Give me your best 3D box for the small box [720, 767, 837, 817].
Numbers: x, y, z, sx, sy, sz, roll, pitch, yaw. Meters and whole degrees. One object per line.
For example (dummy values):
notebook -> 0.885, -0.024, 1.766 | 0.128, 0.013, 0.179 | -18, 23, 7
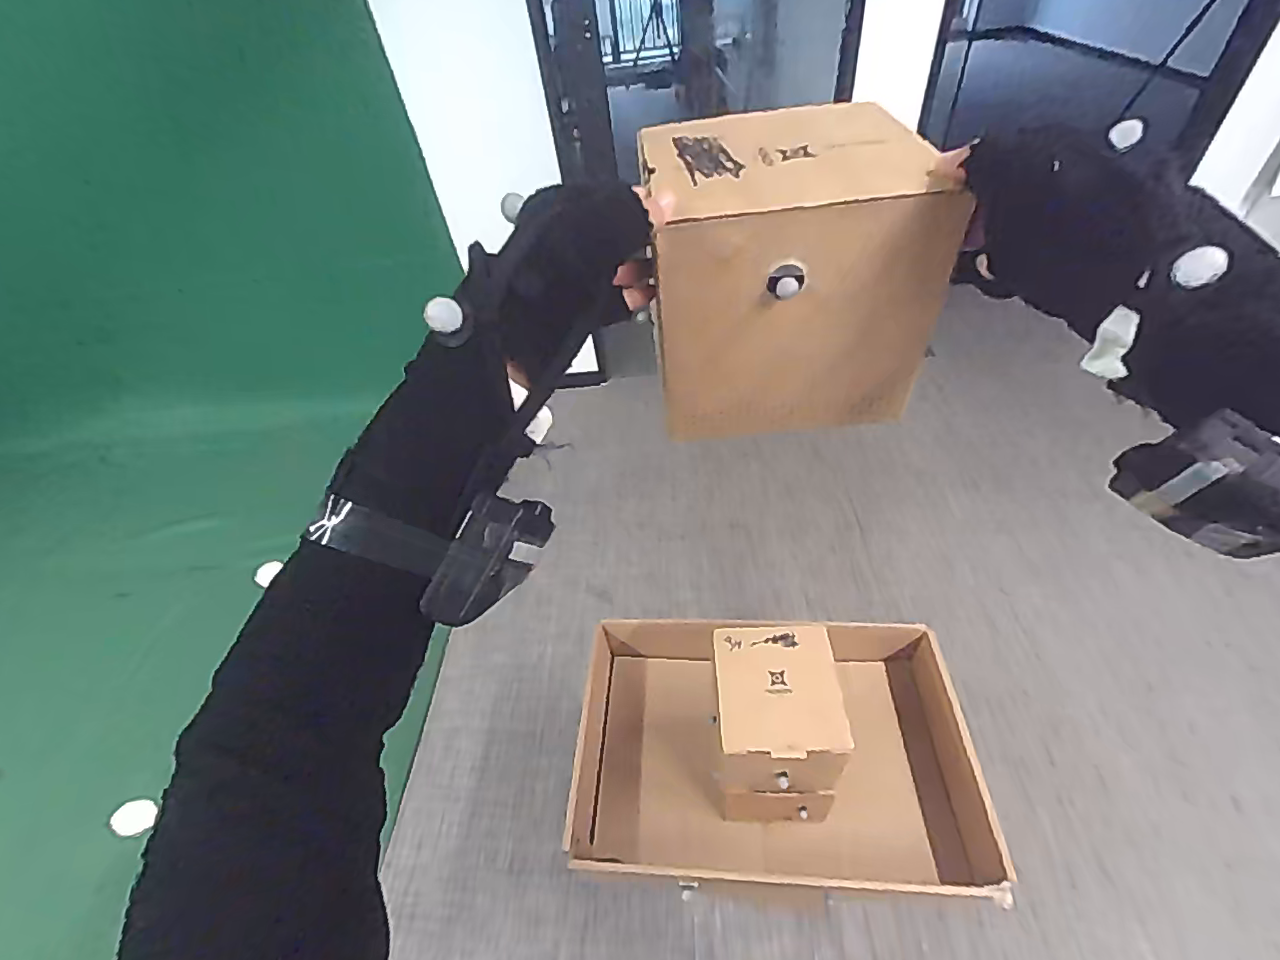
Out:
small box -> 0.220, 0.450, 0.910 | 0.168, 0.176, 0.179 | -2, 44, 5

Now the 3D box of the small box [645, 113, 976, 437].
small box -> 0.100, -0.147, 0.403 | 0.179, 0.176, 0.168 | -4, 48, 2

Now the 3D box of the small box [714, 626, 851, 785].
small box -> 0.197, 0.334, 0.796 | 0.168, 0.176, 0.179 | -2, 46, 5
